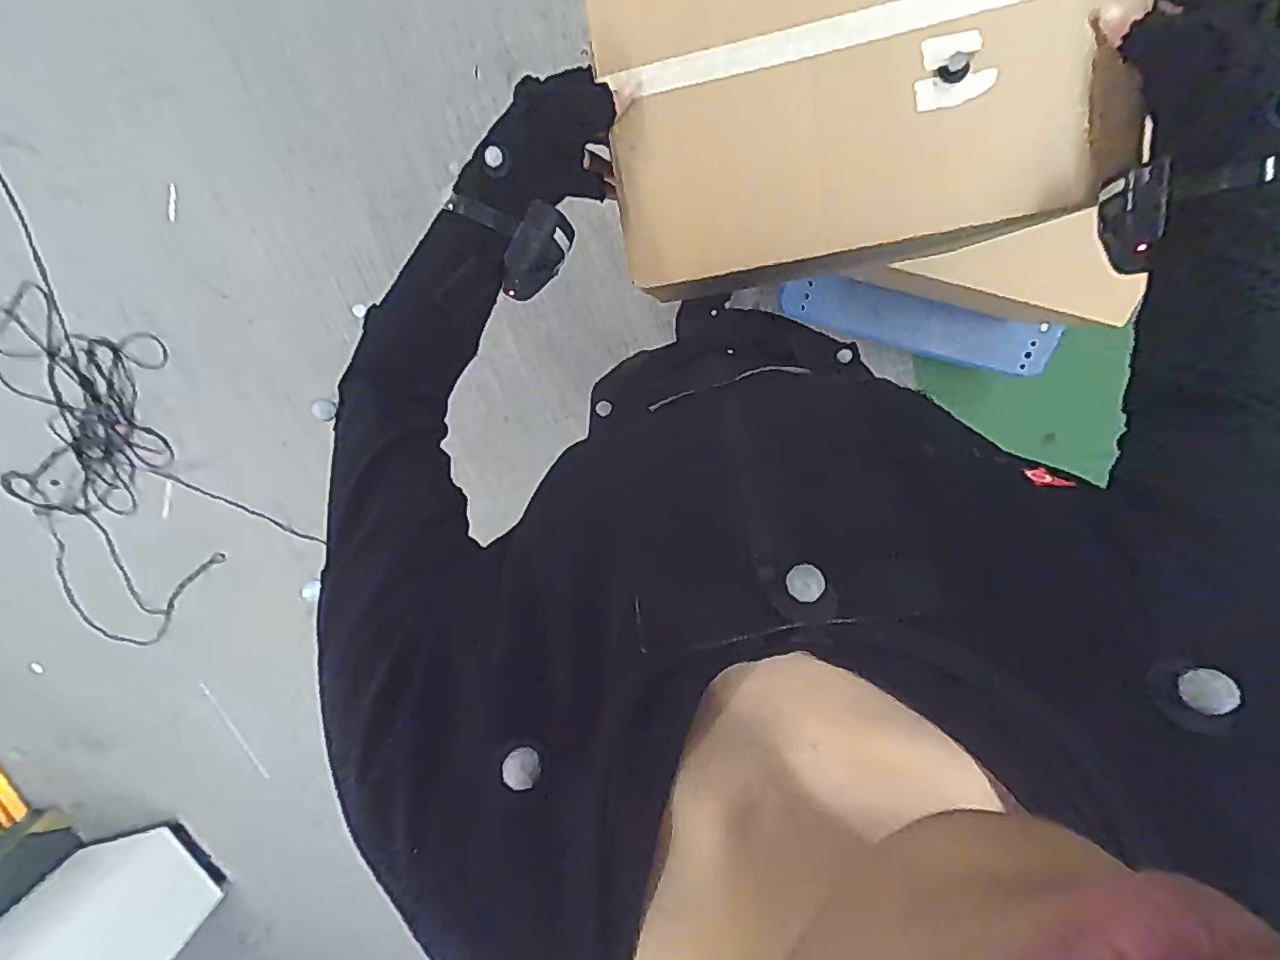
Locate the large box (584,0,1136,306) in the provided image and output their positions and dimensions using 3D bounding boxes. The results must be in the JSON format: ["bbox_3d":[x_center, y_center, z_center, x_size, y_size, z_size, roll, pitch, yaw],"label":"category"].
[{"bbox_3d":[0.175,-0.385,0.559,0.408,0.320,0.320,-8,104,7],"label":"large box"}]
